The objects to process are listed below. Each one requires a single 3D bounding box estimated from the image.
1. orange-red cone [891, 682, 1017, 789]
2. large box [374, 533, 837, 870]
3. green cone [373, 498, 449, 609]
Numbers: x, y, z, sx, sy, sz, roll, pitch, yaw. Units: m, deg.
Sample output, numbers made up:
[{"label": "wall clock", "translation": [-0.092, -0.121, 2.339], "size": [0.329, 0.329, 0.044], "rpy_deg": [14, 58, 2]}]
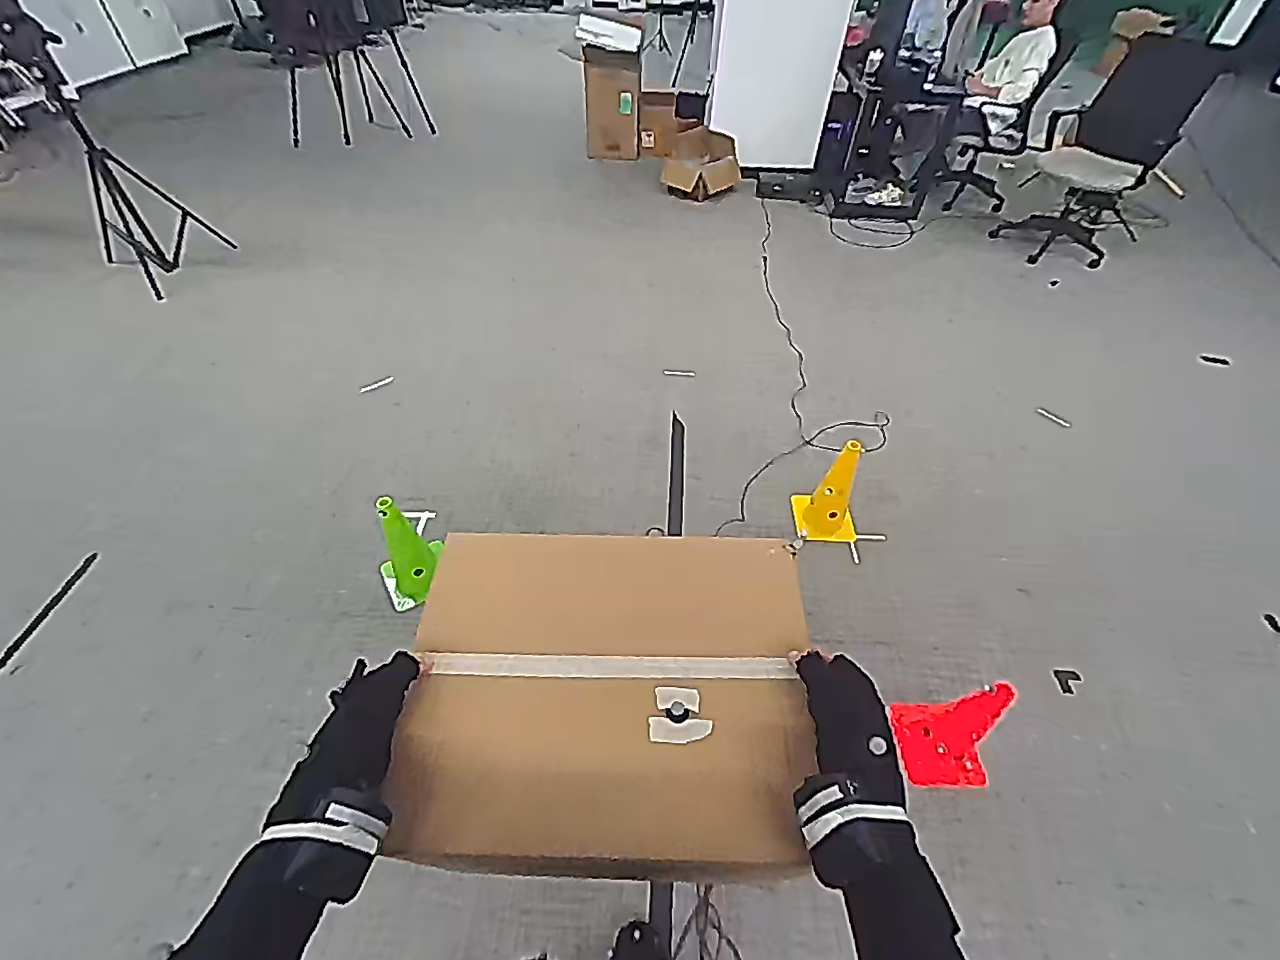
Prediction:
[{"label": "orange-red cone", "translation": [0.767, 0.562, 1.265], "size": [0.198, 0.360, 0.199], "rpy_deg": [2, 46, -1]}, {"label": "large box", "translation": [-0.029, 0.278, 0.665], "size": [0.408, 0.320, 0.320], "rpy_deg": [1, 51, 1]}, {"label": "green cone", "translation": [-0.688, 0.177, 1.576], "size": [0.202, 0.368, 0.200], "rpy_deg": [-27, 53, -22]}]
